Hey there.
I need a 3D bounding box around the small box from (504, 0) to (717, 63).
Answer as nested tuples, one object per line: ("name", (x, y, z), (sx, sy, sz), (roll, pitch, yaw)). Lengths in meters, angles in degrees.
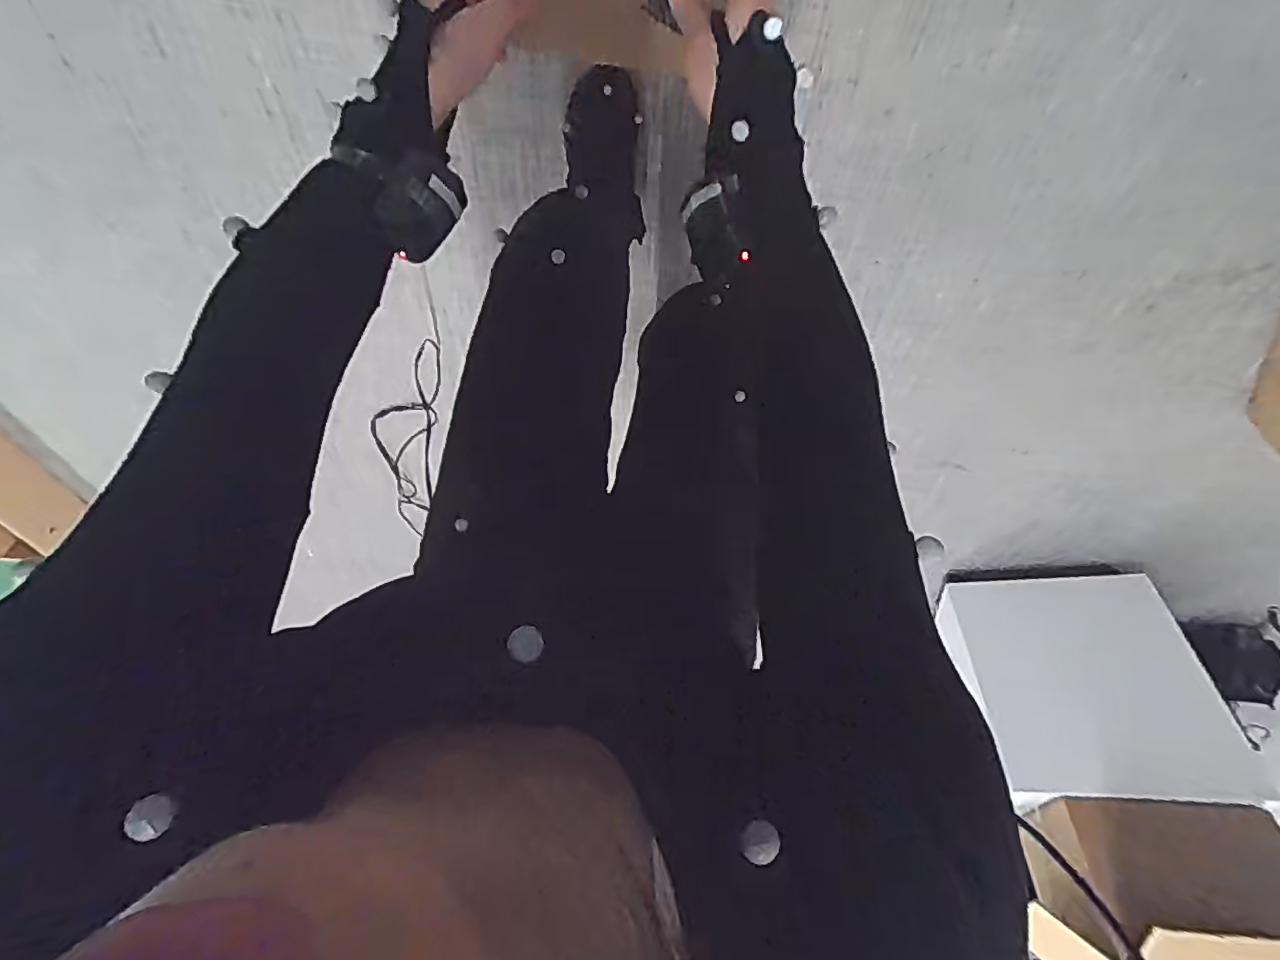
("small box", (-0.020, -0.485, 0.456), (0.179, 0.176, 0.168), (4, 140, -5))
